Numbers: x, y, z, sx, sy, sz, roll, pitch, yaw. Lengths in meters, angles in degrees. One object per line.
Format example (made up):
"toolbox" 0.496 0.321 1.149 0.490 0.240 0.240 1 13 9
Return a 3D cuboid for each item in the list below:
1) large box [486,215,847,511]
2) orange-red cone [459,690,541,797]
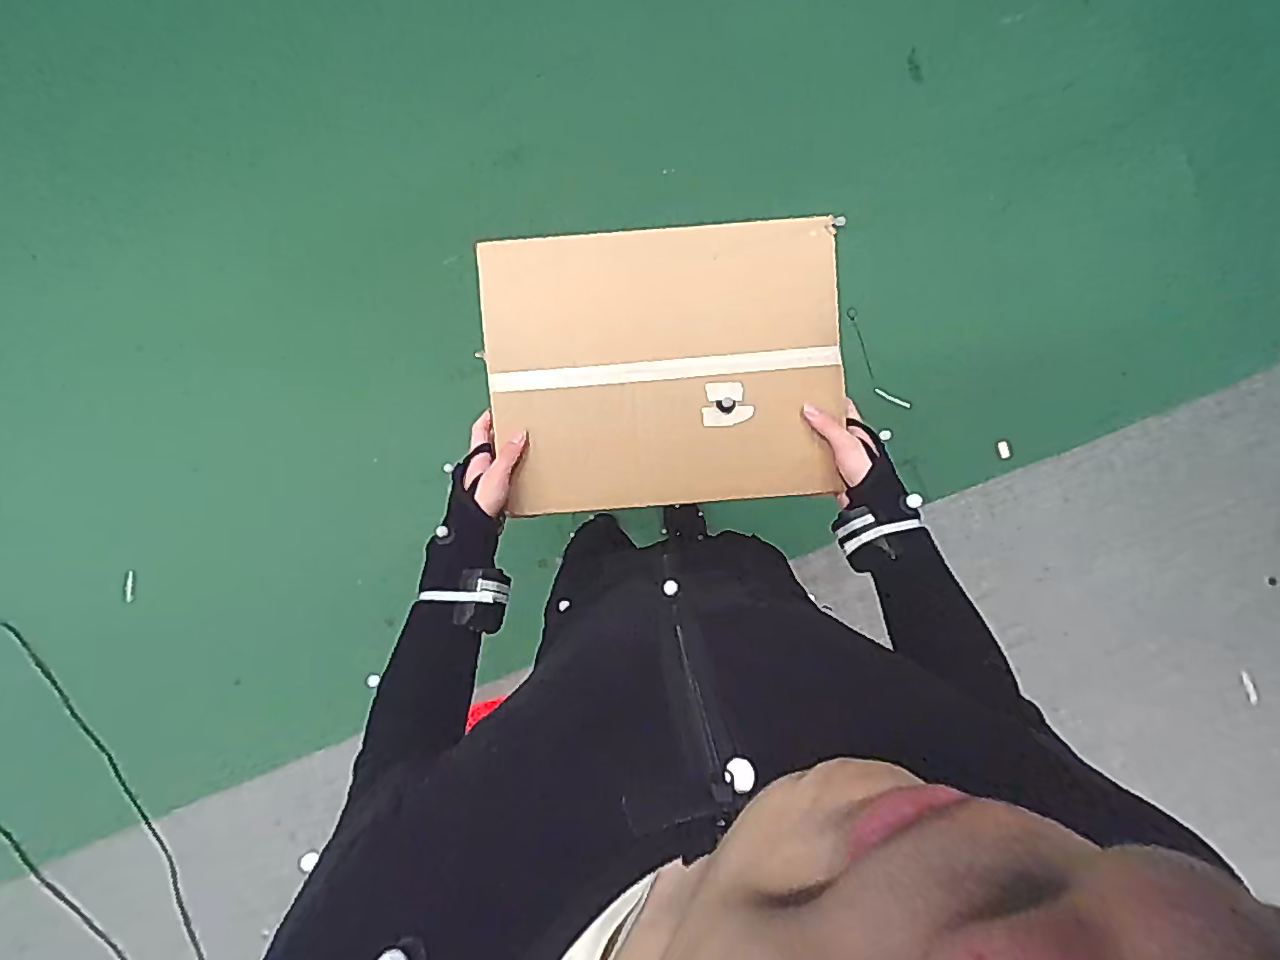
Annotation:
"large box" 0.032 -0.143 0.776 0.408 0.320 0.320 -5 95 0
"orange-red cone" -0.413 0.745 1.466 0.199 0.360 0.198 -15 88 1
